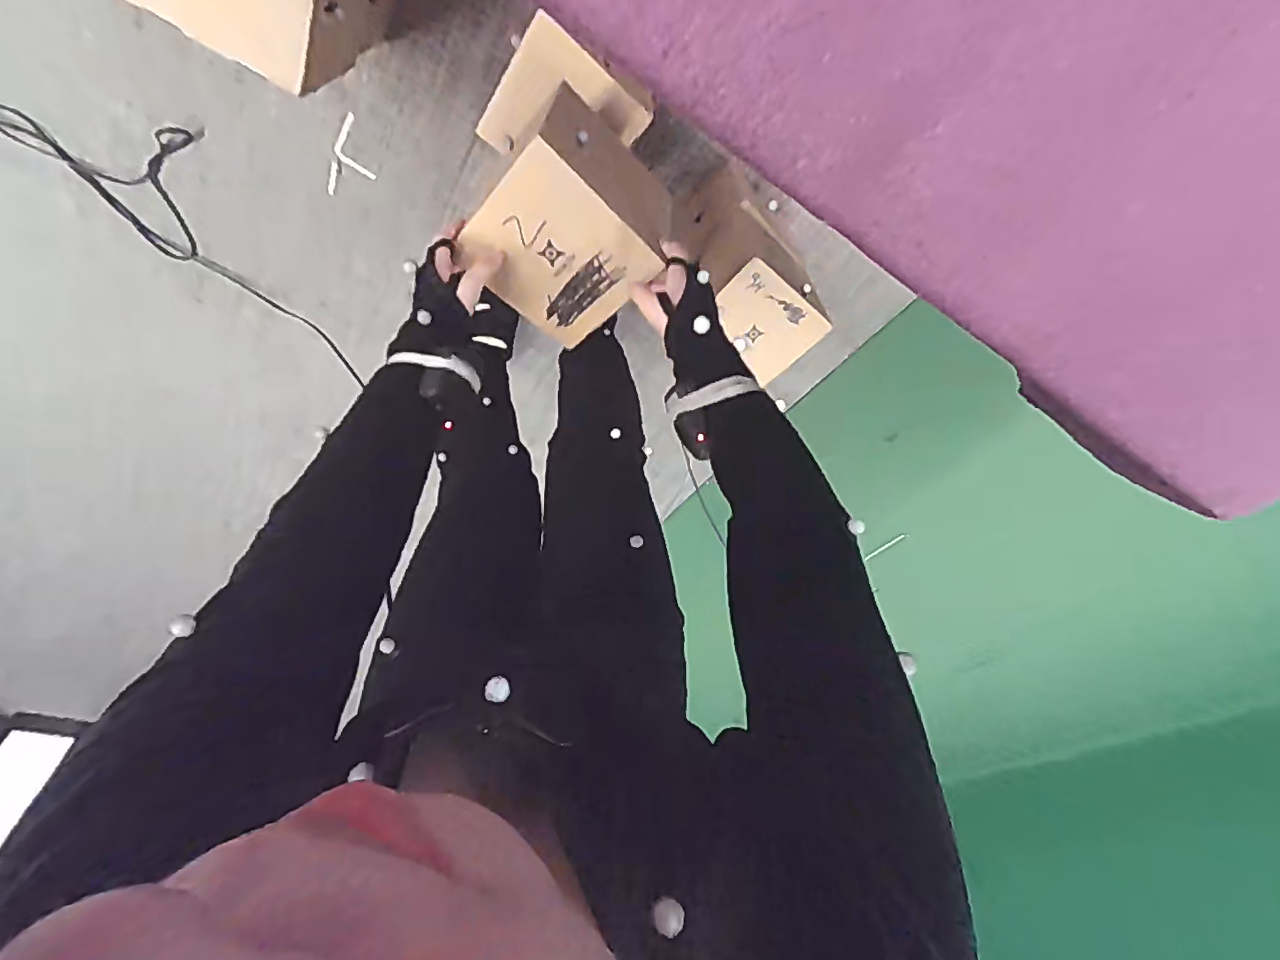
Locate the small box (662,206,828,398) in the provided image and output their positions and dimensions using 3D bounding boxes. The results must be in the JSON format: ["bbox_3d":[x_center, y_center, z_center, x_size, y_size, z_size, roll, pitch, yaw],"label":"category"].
[{"bbox_3d":[0.149,-0.265,0.815,0.168,0.176,0.179,29,131,-30],"label":"small box"}]

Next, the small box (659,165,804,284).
[{"bbox_3d":[0.148,-0.390,0.924,0.168,0.176,0.179,33,126,-31],"label":"small box"}]
